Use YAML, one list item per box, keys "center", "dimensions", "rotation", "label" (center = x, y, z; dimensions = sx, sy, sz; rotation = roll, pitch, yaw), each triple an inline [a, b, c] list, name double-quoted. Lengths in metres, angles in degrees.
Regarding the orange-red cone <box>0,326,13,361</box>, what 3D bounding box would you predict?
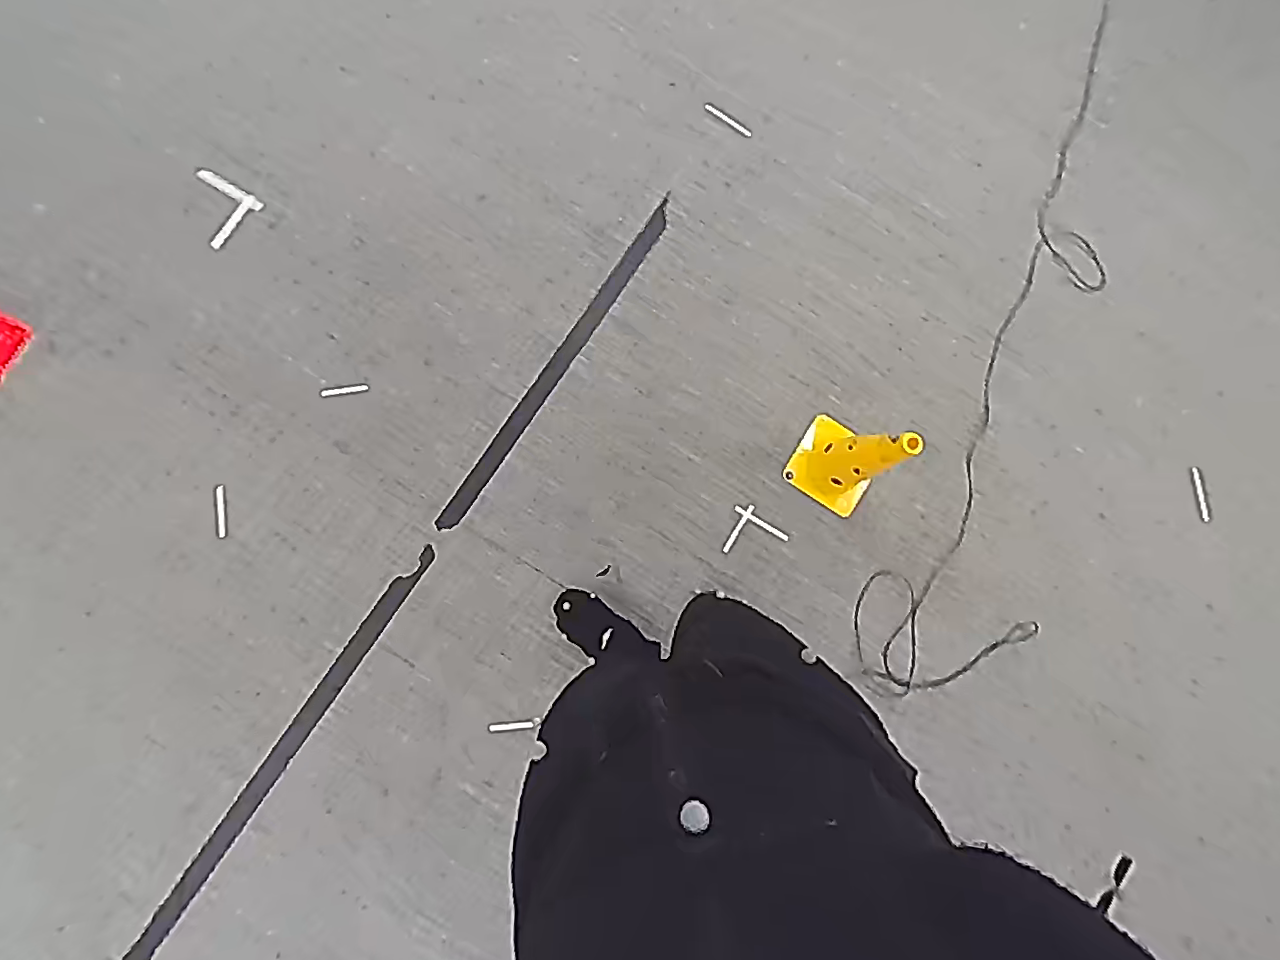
- center: [-1.565, -0.311, 1.073]
  dimensions: [0.198, 0.360, 0.199]
  rotation: [28, 85, 0]
  label: "orange-red cone"
